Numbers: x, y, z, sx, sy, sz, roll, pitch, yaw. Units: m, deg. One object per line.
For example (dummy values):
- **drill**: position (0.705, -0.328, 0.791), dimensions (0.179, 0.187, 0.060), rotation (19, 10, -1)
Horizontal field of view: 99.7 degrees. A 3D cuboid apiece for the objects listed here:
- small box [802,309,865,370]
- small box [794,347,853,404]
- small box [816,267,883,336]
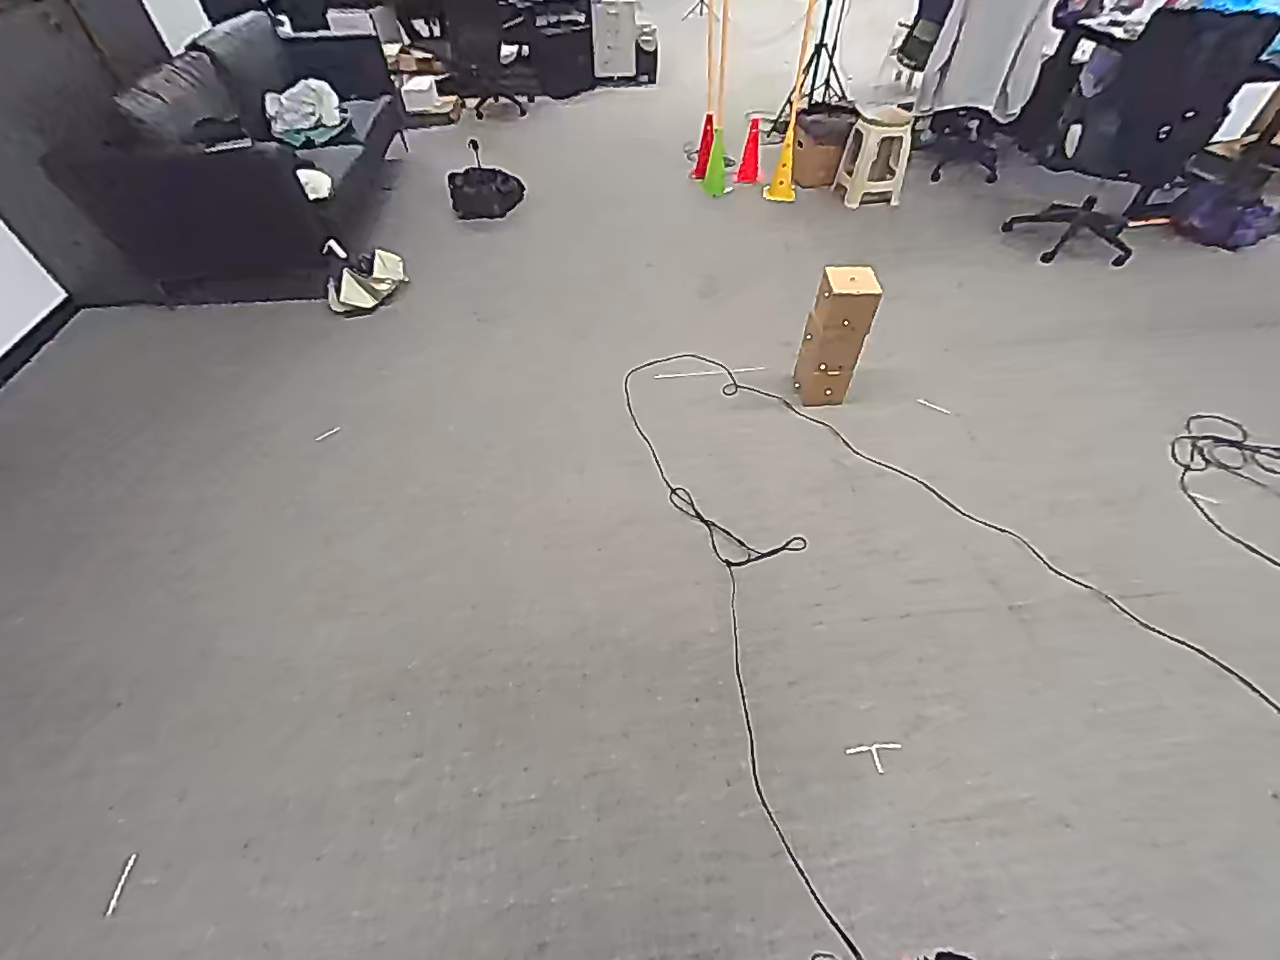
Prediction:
- **small box**: position (0.731, -0.532, 2.053), dimensions (0.168, 0.176, 0.179), rotation (-3, 49, -2)
- **small box**: position (0.732, -0.419, 2.173), dimensions (0.168, 0.176, 0.179), rotation (-3, 51, -2)
- **small box**: position (0.738, -0.636, 1.928), dimensions (0.168, 0.176, 0.179), rotation (1, 50, 2)
